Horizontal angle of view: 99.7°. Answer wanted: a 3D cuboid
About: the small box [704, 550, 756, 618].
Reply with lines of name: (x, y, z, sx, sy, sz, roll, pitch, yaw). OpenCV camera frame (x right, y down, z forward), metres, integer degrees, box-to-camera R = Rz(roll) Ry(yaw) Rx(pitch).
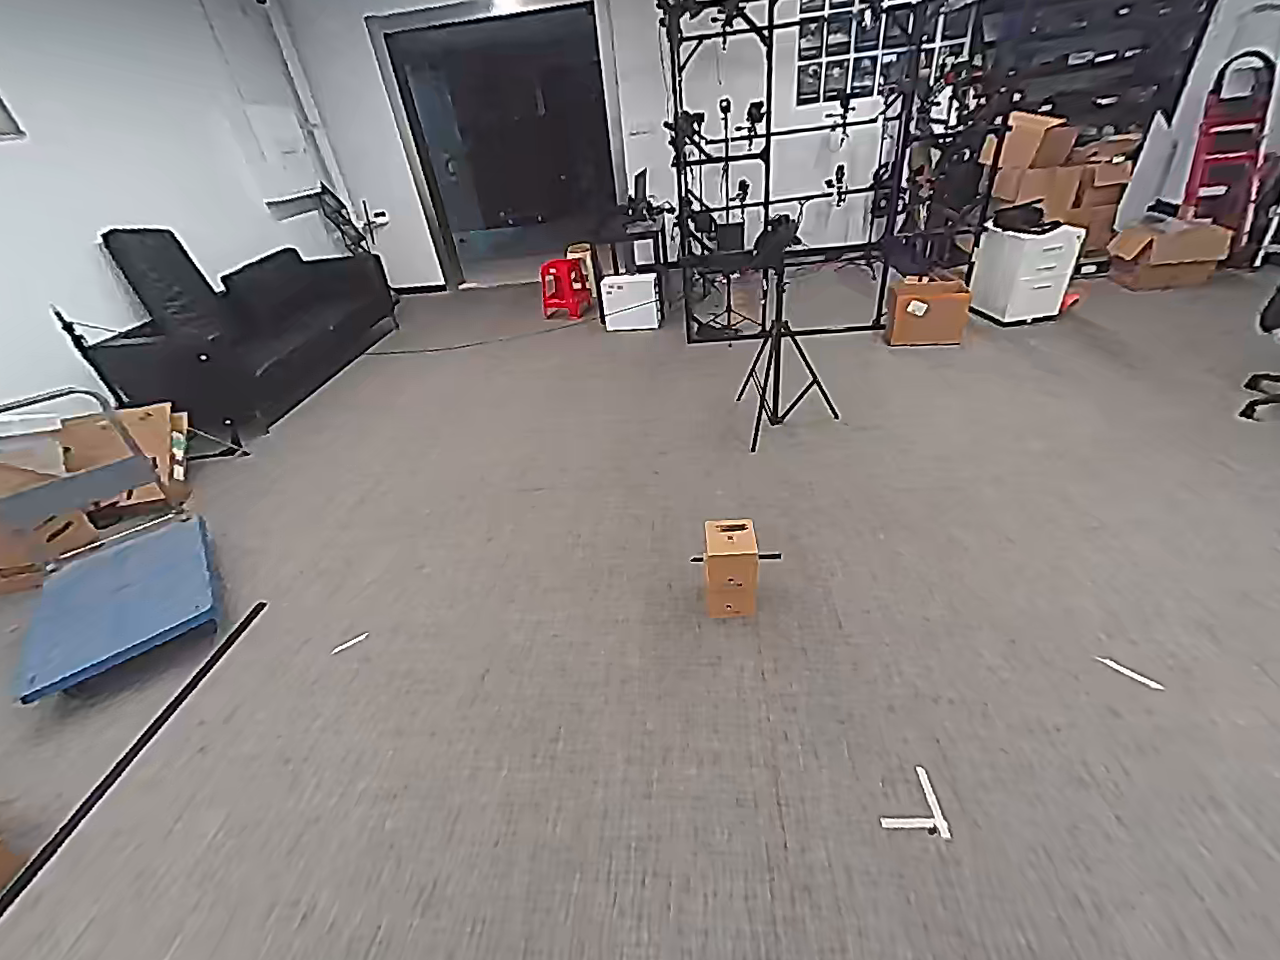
small box: (0.327, 0.382, 1.982, 0.168, 0.176, 0.179, -6, 34, 3)
